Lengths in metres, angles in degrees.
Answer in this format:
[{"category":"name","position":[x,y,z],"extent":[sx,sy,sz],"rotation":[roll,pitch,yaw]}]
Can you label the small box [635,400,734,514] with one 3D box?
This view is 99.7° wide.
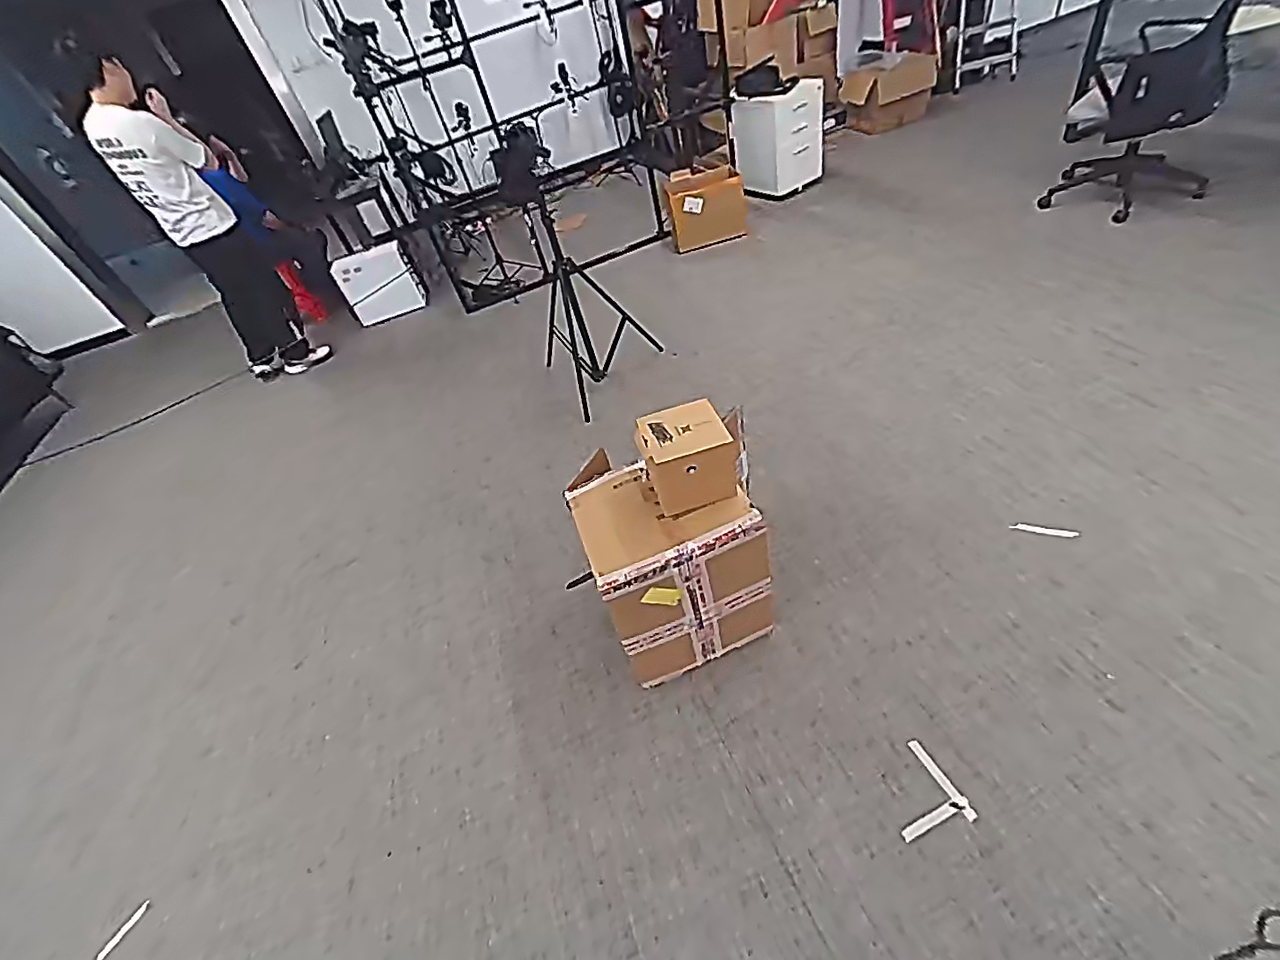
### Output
[{"category":"small box","position":[0.103,-0.048,1.227],"extent":[0.179,0.176,0.168],"rotation":[-18,44,-4]}]
